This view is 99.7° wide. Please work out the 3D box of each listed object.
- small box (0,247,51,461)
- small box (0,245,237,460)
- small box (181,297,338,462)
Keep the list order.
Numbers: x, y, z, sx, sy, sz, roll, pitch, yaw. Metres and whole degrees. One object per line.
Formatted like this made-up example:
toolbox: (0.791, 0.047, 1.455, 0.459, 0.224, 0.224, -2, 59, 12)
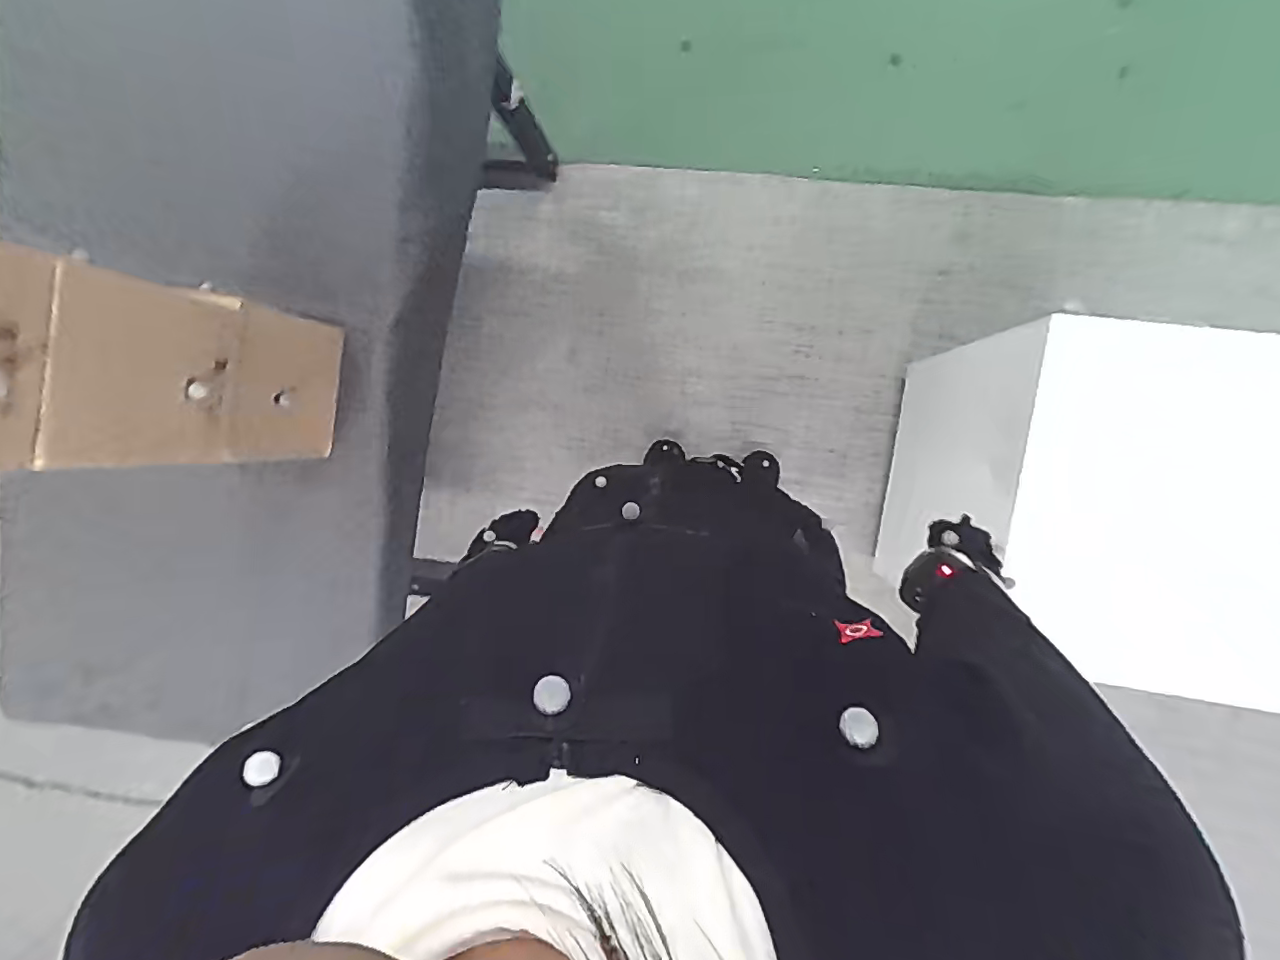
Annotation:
small box: (-0.558, -0.100, 0.349, 0.179, 0.176, 0.168, 12, 97, 6)
small box: (-0.534, -0.114, 0.509, 0.179, 0.176, 0.168, 10, 95, 8)
small box: (-0.507, -0.125, 0.671, 0.168, 0.176, 0.179, 10, 96, 7)
